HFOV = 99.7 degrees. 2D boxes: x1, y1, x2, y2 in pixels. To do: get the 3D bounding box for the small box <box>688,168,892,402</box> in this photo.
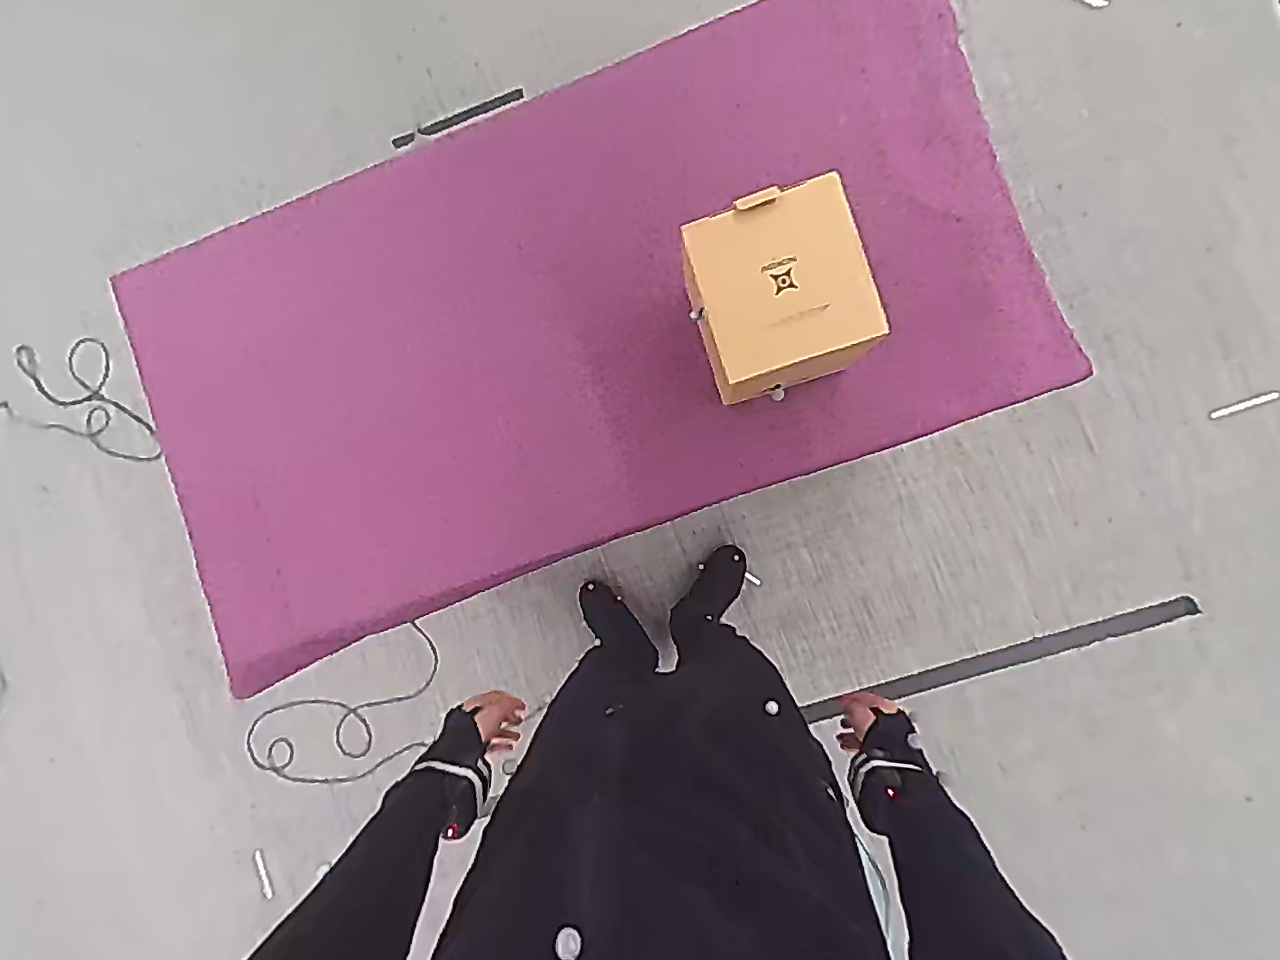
[{"bbox_3d":[0.155,-0.204,0.616,0.168,0.176,0.179,-16,88,7],"label":"small box"}]
